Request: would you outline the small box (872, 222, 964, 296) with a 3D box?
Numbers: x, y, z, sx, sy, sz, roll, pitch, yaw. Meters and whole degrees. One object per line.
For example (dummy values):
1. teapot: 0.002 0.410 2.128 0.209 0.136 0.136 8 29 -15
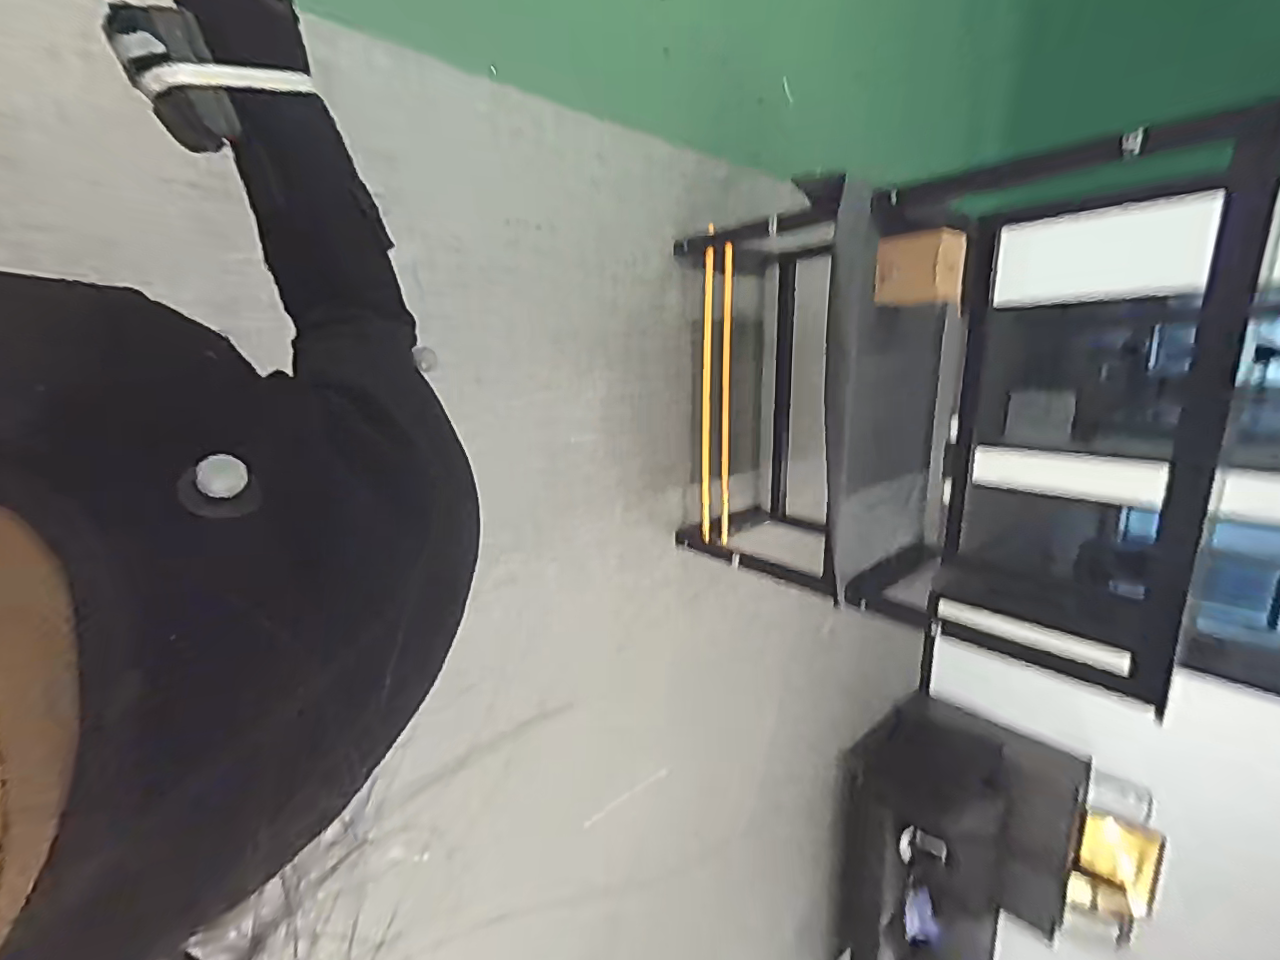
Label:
1. small box: 0.771 -0.606 1.501 0.179 0.176 0.168 -15 109 -39
